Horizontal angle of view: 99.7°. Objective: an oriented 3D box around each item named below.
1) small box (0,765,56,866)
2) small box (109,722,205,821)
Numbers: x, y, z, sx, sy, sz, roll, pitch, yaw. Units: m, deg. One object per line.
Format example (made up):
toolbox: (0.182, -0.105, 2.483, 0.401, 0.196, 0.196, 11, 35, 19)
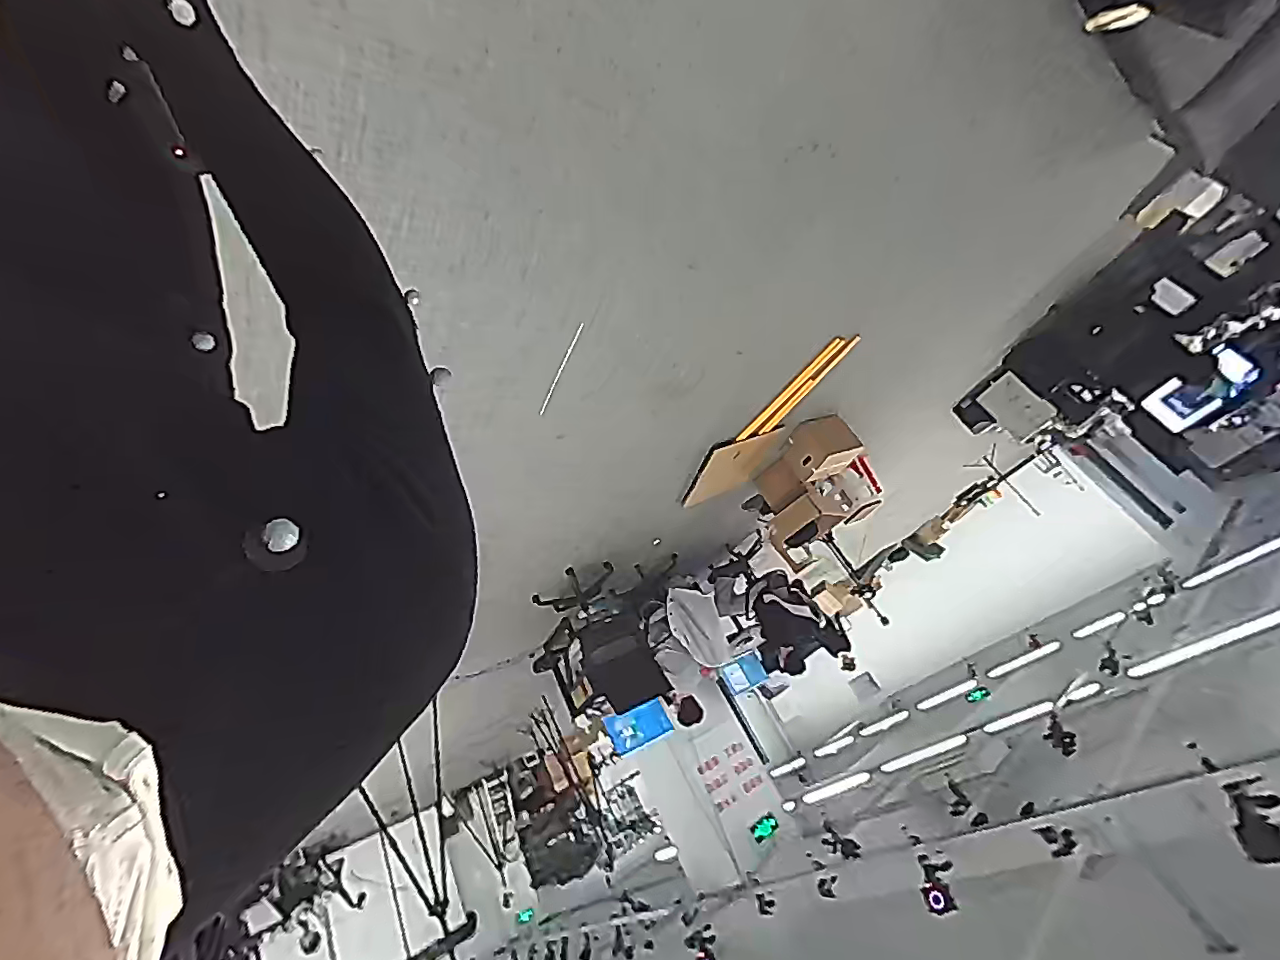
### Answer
small box: (-1.520, 0.805, 1.279, 0.168, 0.176, 0.179, -8, 146, -39)
small box: (-1.290, 0.773, 1.448, 0.168, 0.176, 0.179, -9, 149, -35)
